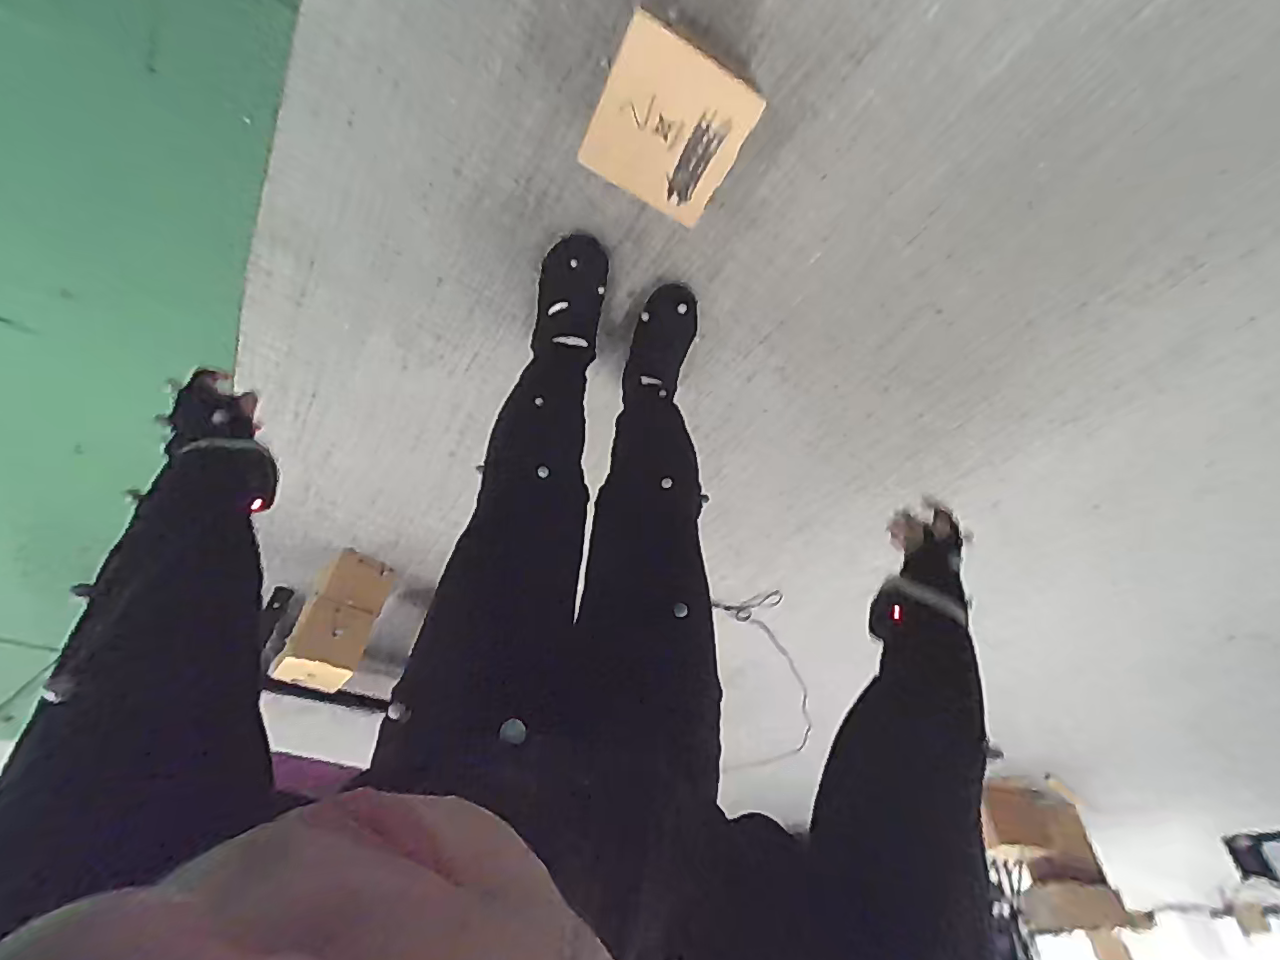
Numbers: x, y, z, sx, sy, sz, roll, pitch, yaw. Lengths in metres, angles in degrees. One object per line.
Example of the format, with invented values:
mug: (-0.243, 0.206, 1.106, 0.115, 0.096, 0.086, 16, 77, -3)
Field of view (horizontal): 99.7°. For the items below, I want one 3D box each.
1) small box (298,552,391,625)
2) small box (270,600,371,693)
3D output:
small box: (-0.863, 0.339, 1.595, 0.168, 0.176, 0.179, 35, 128, -30)
small box: (-0.864, 0.452, 1.476, 0.168, 0.176, 0.179, 31, 128, -27)
